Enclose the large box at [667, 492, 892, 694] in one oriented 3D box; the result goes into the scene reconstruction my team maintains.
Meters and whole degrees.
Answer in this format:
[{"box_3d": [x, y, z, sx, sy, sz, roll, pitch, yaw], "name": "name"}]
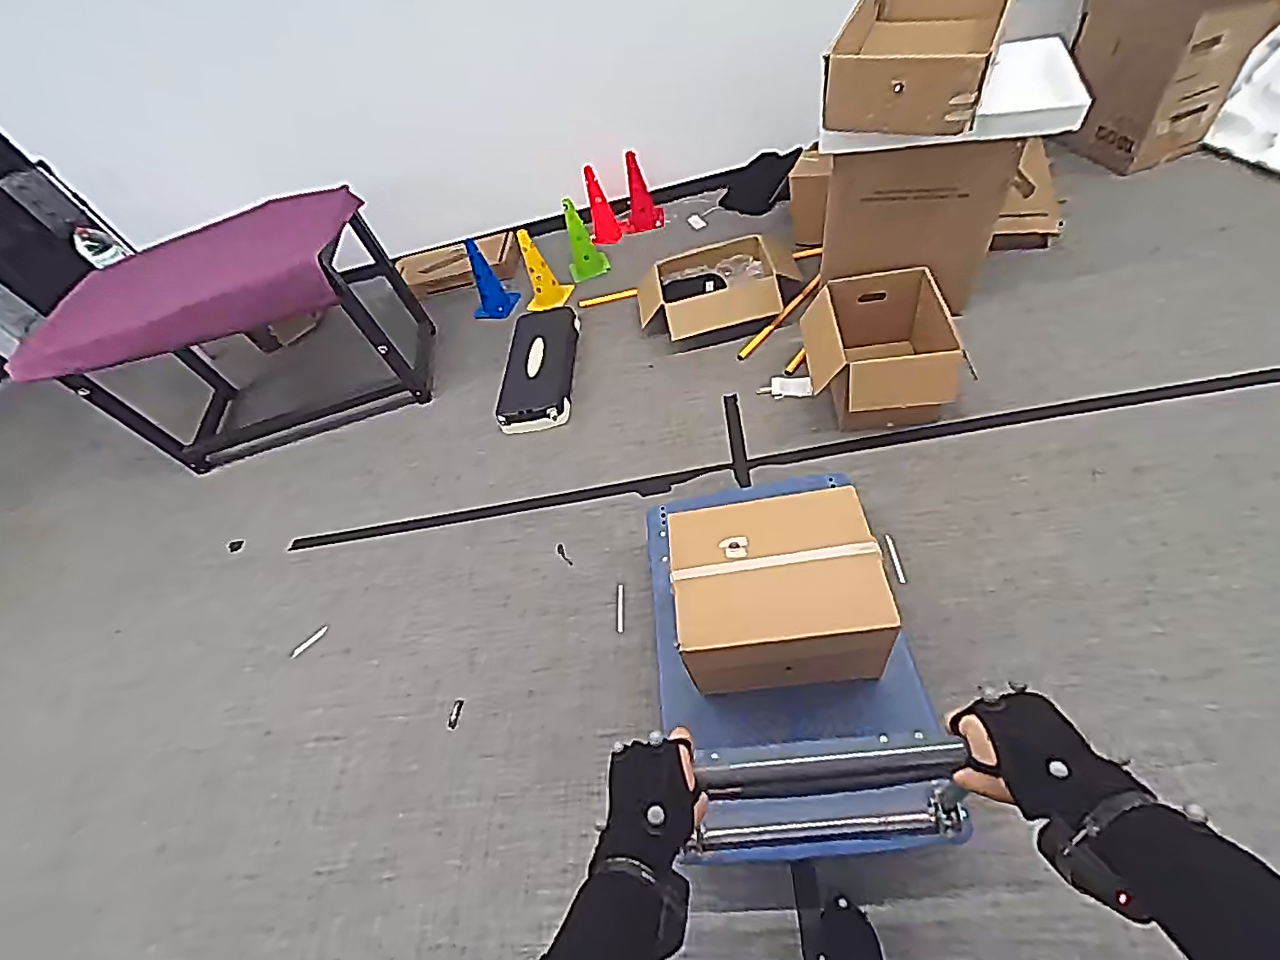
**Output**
[{"box_3d": [0.298, 0.267, 1.218, 0.408, 0.320, 0.320, -10, 51, 10], "name": "large box"}]
